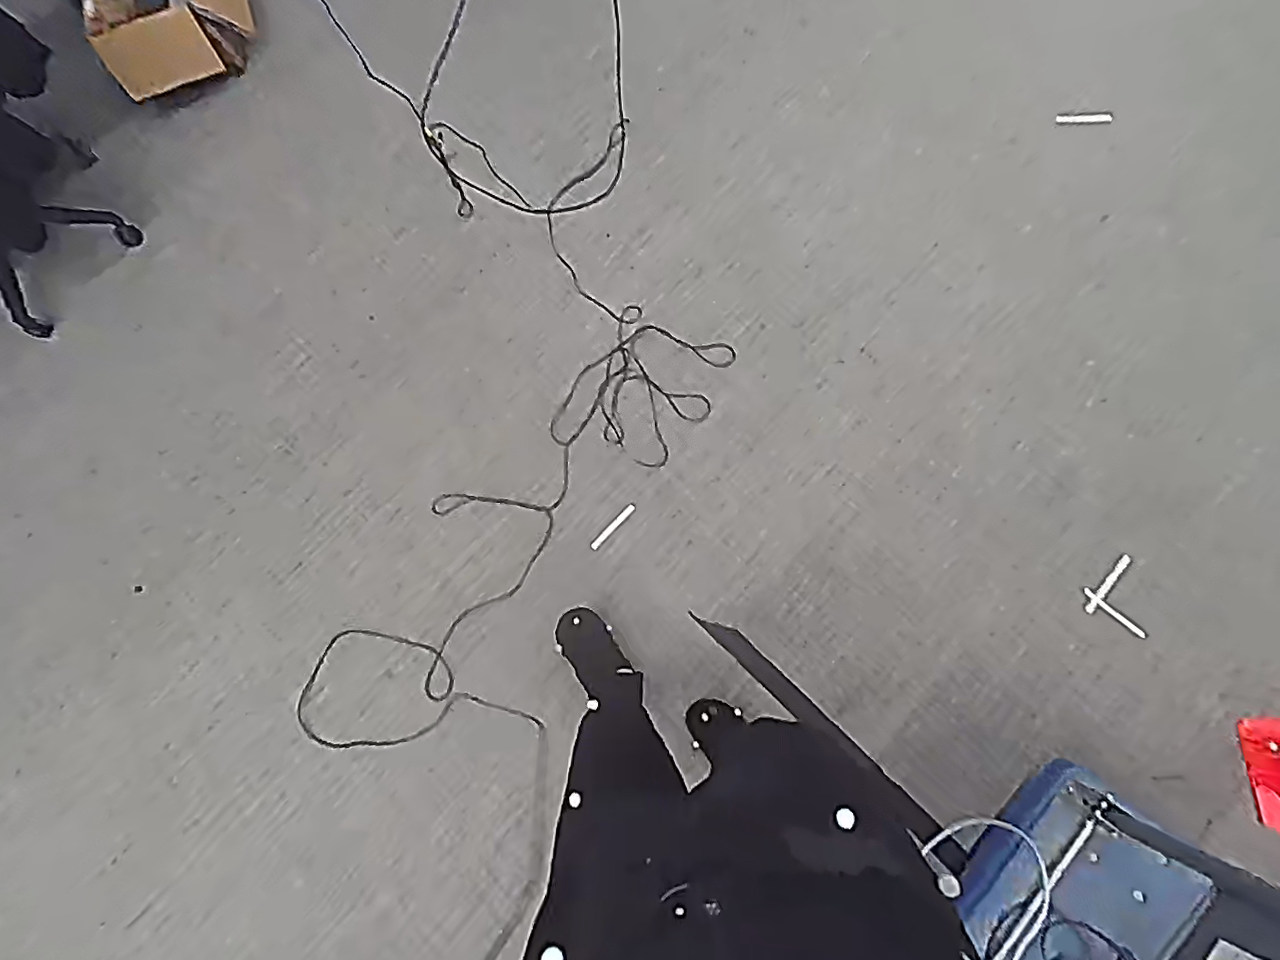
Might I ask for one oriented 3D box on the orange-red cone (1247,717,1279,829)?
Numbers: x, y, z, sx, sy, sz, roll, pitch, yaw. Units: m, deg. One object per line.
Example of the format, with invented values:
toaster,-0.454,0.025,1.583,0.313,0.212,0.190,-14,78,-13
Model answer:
orange-red cone,1.264,0.524,0.861,0.198,0.360,0.199,-2,78,6
